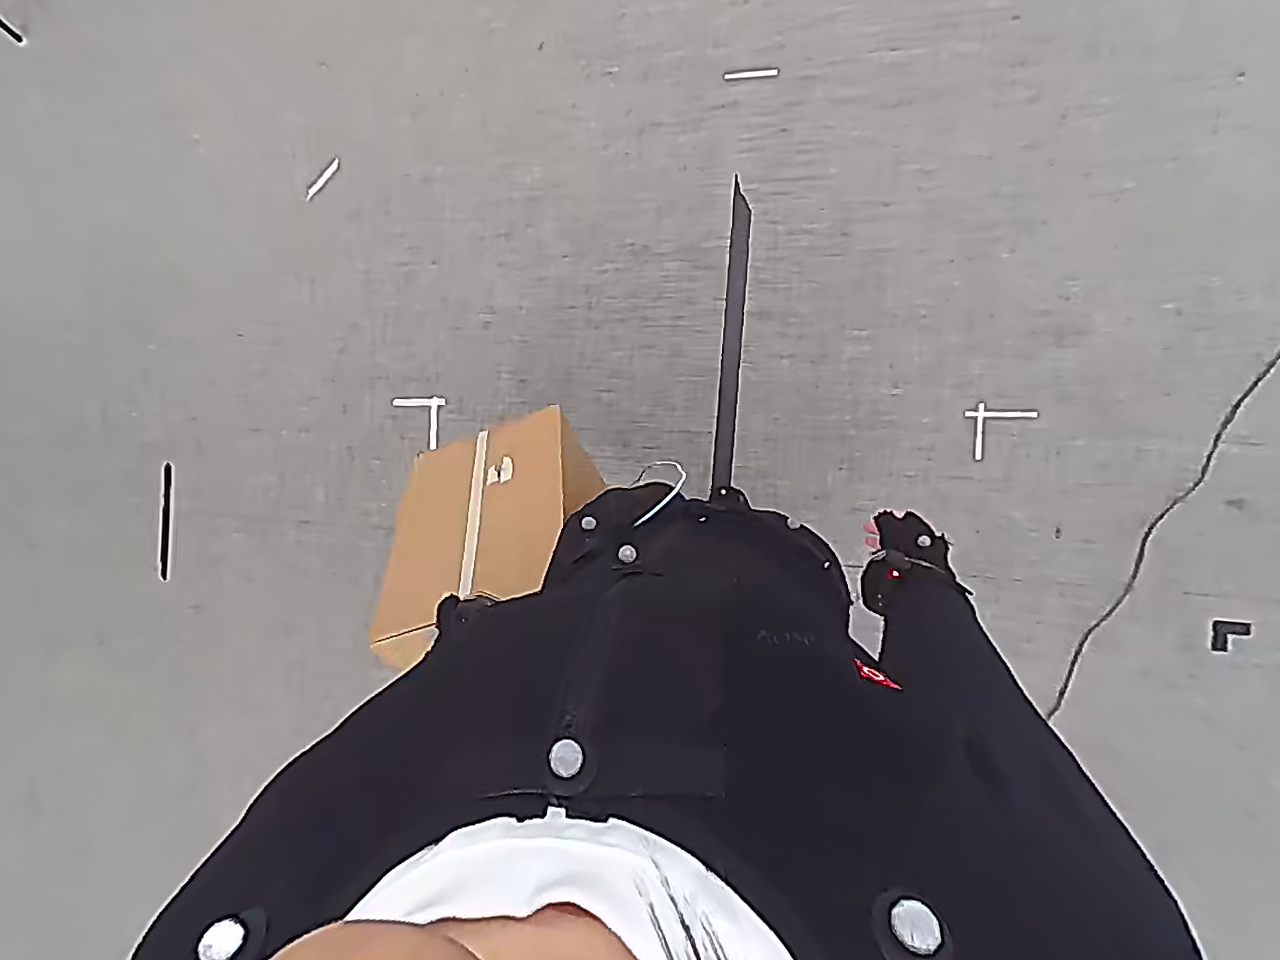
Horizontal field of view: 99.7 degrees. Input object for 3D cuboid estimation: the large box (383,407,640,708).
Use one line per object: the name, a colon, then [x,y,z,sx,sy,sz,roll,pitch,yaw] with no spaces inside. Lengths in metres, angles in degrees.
large box: [-0.213,0.141,1.003,0.320,0.320,0.408,-18,45,7]
